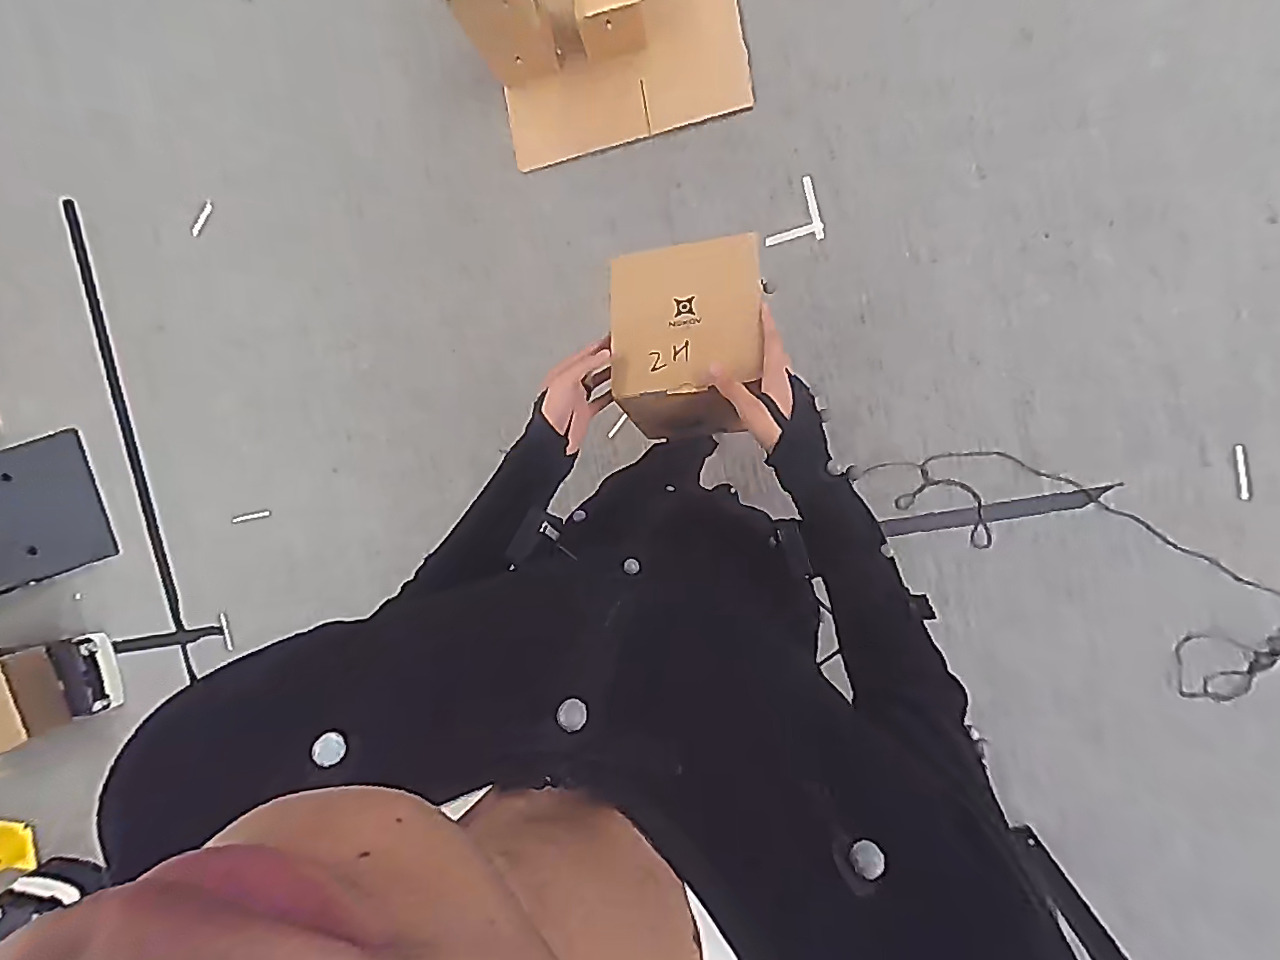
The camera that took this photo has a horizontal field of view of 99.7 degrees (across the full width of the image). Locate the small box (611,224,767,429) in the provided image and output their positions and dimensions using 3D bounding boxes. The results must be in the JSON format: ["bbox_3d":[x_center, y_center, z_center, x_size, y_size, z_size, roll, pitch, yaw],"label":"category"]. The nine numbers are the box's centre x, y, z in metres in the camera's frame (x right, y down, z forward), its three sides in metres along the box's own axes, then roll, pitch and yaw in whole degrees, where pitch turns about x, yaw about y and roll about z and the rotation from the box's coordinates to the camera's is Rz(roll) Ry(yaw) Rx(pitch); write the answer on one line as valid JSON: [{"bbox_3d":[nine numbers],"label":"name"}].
[{"bbox_3d":[0.067,-0.173,0.659,0.168,0.176,0.179,-3,78,14],"label":"small box"}]

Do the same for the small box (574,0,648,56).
[{"bbox_3d":[-0.079,-1.281,1.436,0.179,0.176,0.168,-8,94,10],"label":"small box"}]

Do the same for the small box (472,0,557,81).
[{"bbox_3d":[-0.339,-1.247,1.482,0.179,0.176,0.168,-9,94,12],"label":"small box"}]
